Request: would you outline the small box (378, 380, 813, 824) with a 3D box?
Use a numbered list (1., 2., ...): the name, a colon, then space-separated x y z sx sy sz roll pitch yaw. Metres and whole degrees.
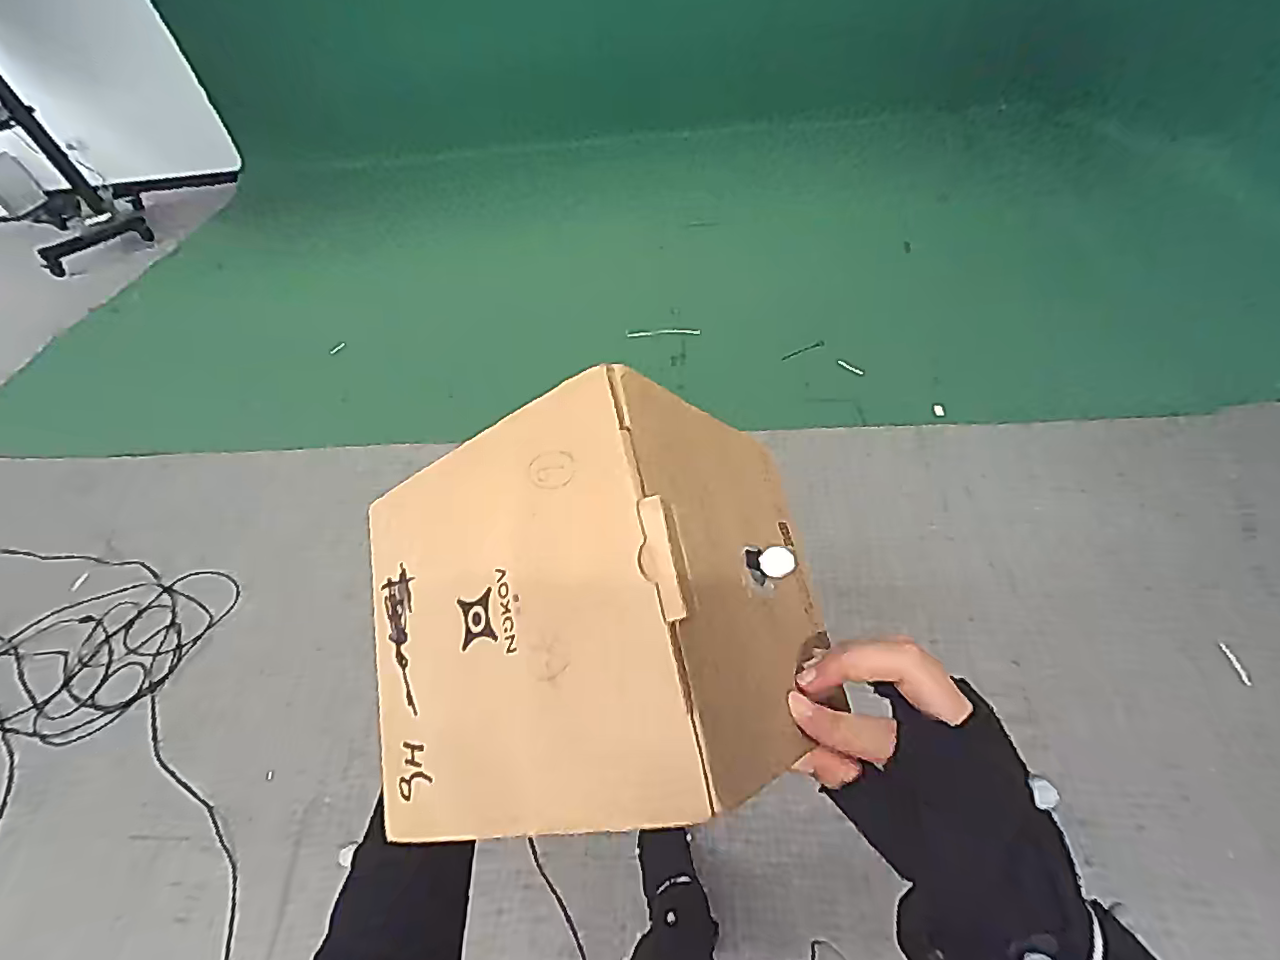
1. small box: -0.017 0.072 0.308 0.179 0.176 0.168 -24 68 28
